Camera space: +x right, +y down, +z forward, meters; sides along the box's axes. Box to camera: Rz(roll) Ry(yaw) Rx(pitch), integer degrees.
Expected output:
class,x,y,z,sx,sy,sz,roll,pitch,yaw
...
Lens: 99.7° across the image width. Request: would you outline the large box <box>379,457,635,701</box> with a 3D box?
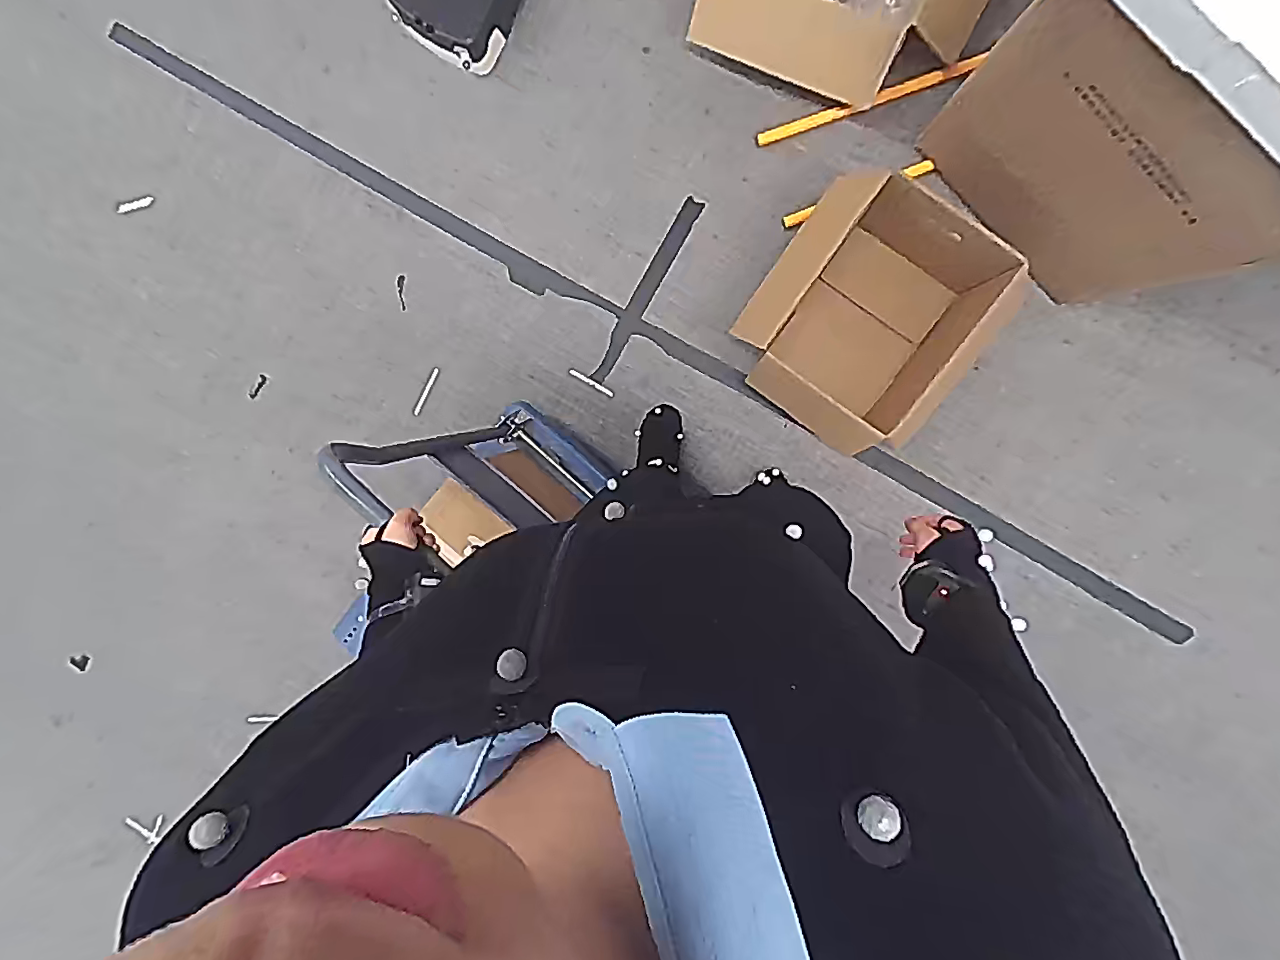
class,x,y,z,sx,sy,sz,roll,pitch,yaw
large box,-0.276,0.199,1.233,0.408,0.320,0.320,43,102,2
